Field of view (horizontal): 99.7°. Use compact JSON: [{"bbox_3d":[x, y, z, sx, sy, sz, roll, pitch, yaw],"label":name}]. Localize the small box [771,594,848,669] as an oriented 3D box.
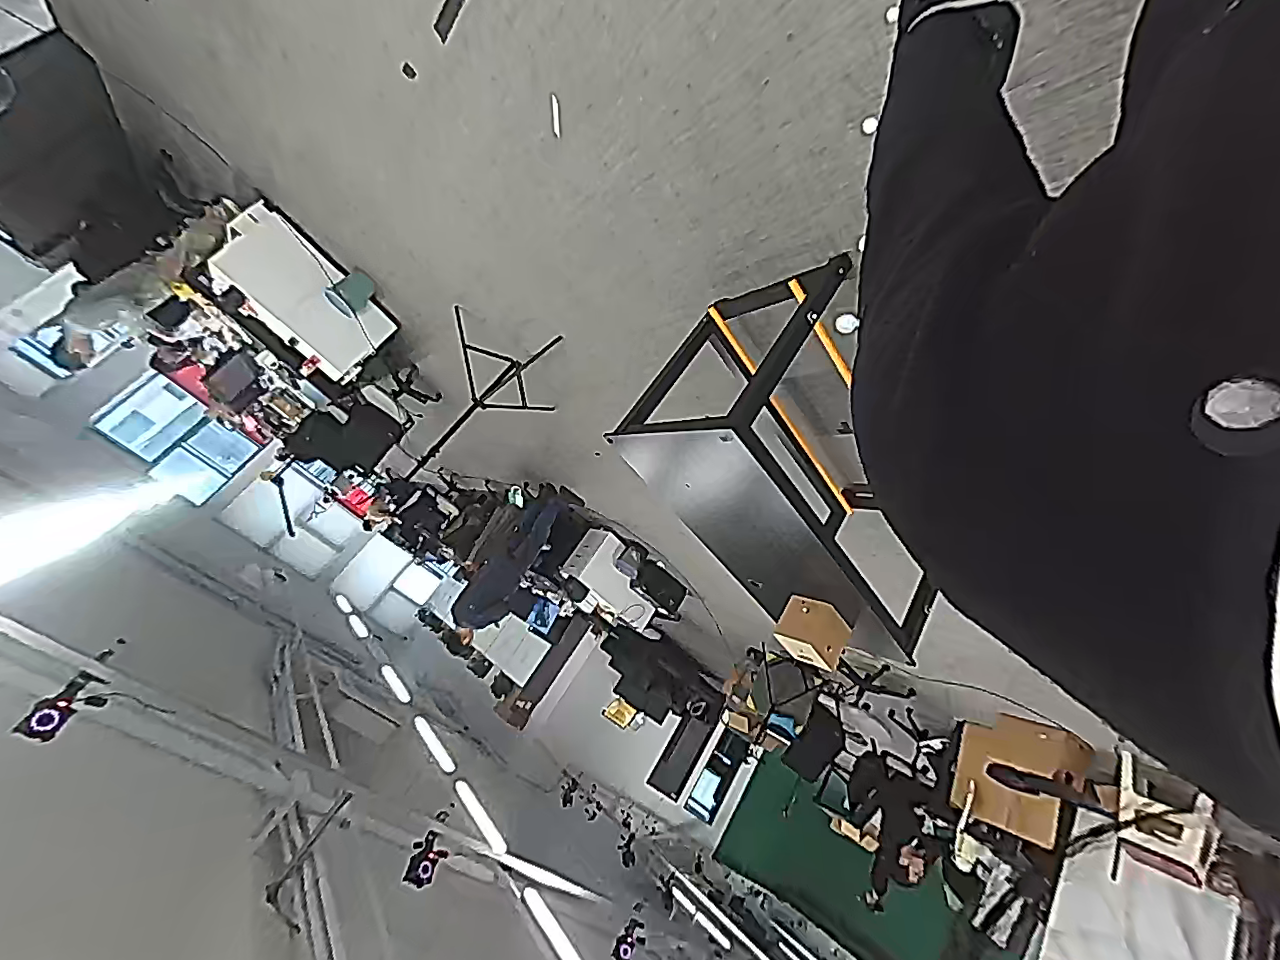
[{"bbox_3d":[0.610,0.534,1.928,0.179,0.176,0.168,48,156,-27],"label":"small box"}]
